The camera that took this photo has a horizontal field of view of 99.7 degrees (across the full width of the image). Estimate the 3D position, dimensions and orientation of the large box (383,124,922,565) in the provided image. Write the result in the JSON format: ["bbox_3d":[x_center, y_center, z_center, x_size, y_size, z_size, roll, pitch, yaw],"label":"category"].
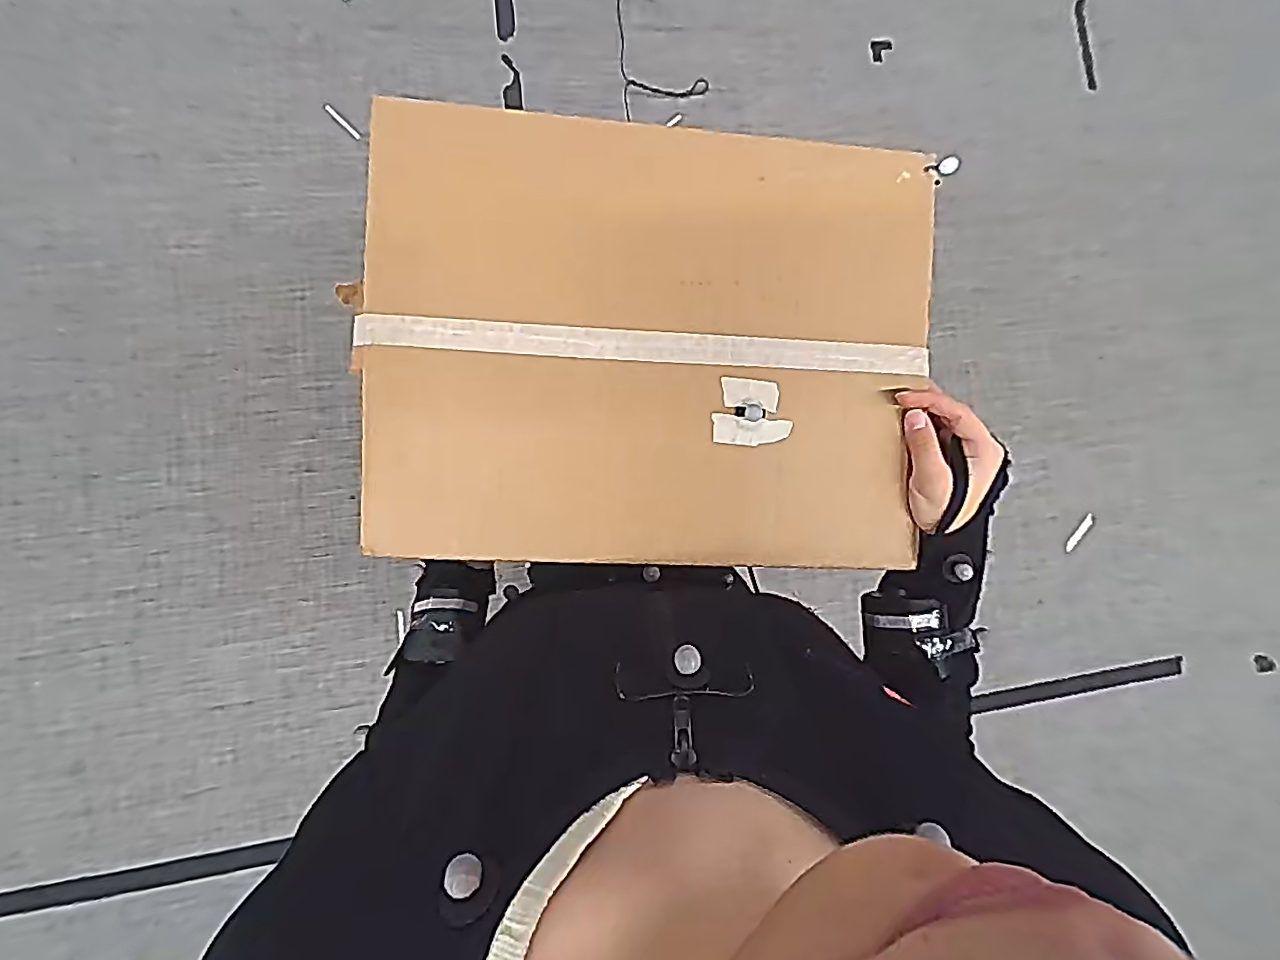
[{"bbox_3d":[0.000,-0.095,0.546,0.408,0.320,0.320,2,92,-7],"label":"large box"}]
